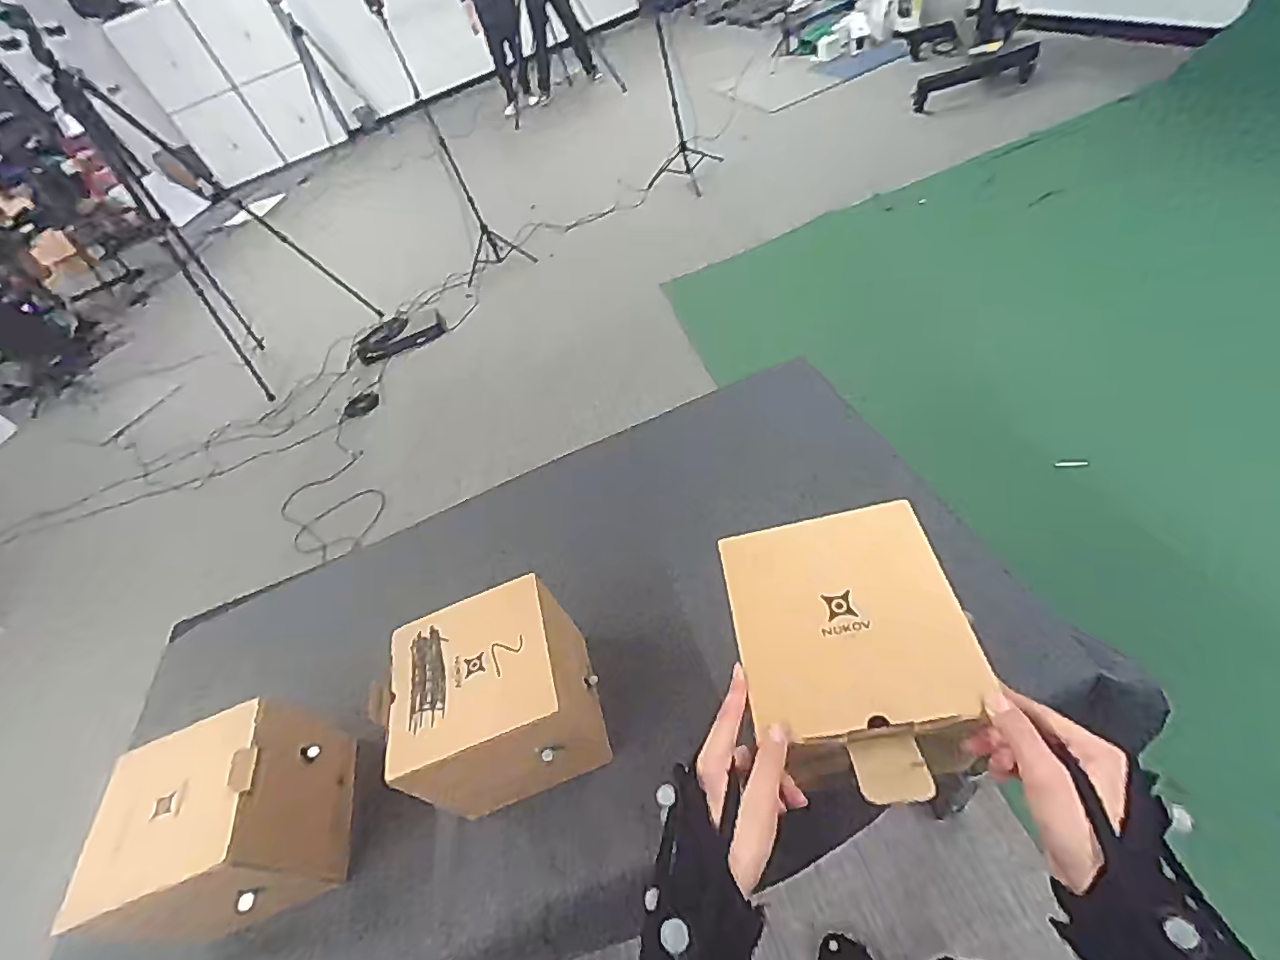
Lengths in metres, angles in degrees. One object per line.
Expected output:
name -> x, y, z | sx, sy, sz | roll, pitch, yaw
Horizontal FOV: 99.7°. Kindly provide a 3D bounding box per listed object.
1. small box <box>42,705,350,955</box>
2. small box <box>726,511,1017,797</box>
small box -> -0.450, 0.382, 0.590 | 0.179, 0.176, 0.168 | -24, 44, -1
small box -> 0.178, 0.156, 0.470 | 0.168, 0.176, 0.179 | -13, 50, 9
